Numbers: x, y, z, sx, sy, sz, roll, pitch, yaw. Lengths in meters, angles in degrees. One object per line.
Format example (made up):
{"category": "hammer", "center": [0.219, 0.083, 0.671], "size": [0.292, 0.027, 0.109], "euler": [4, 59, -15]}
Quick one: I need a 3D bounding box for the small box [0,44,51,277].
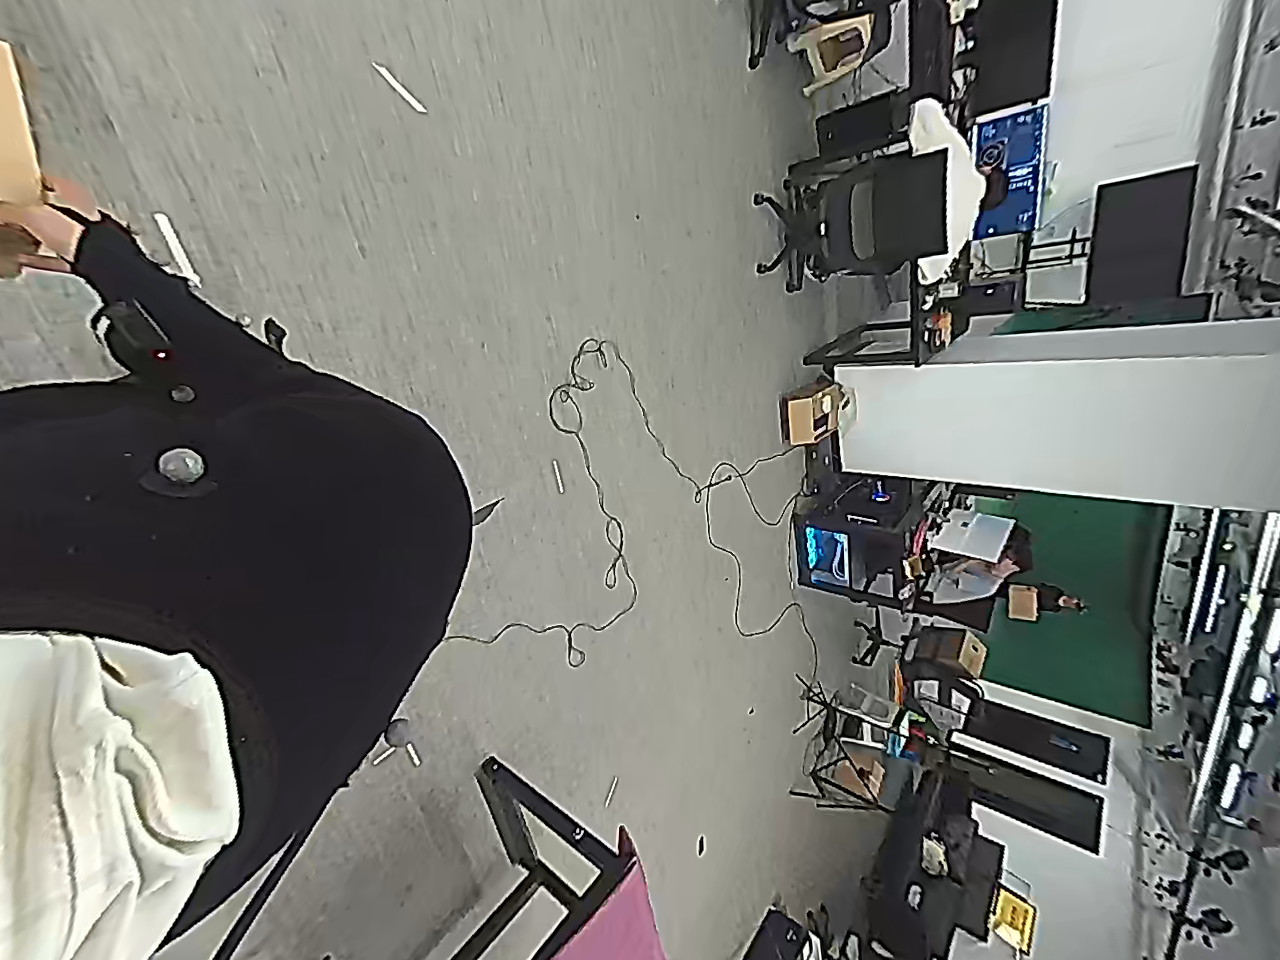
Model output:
{"category": "small box", "center": [-0.685, -0.300, 0.487], "size": [0.168, 0.176, 0.179], "euler": [-17, 98, -58]}
